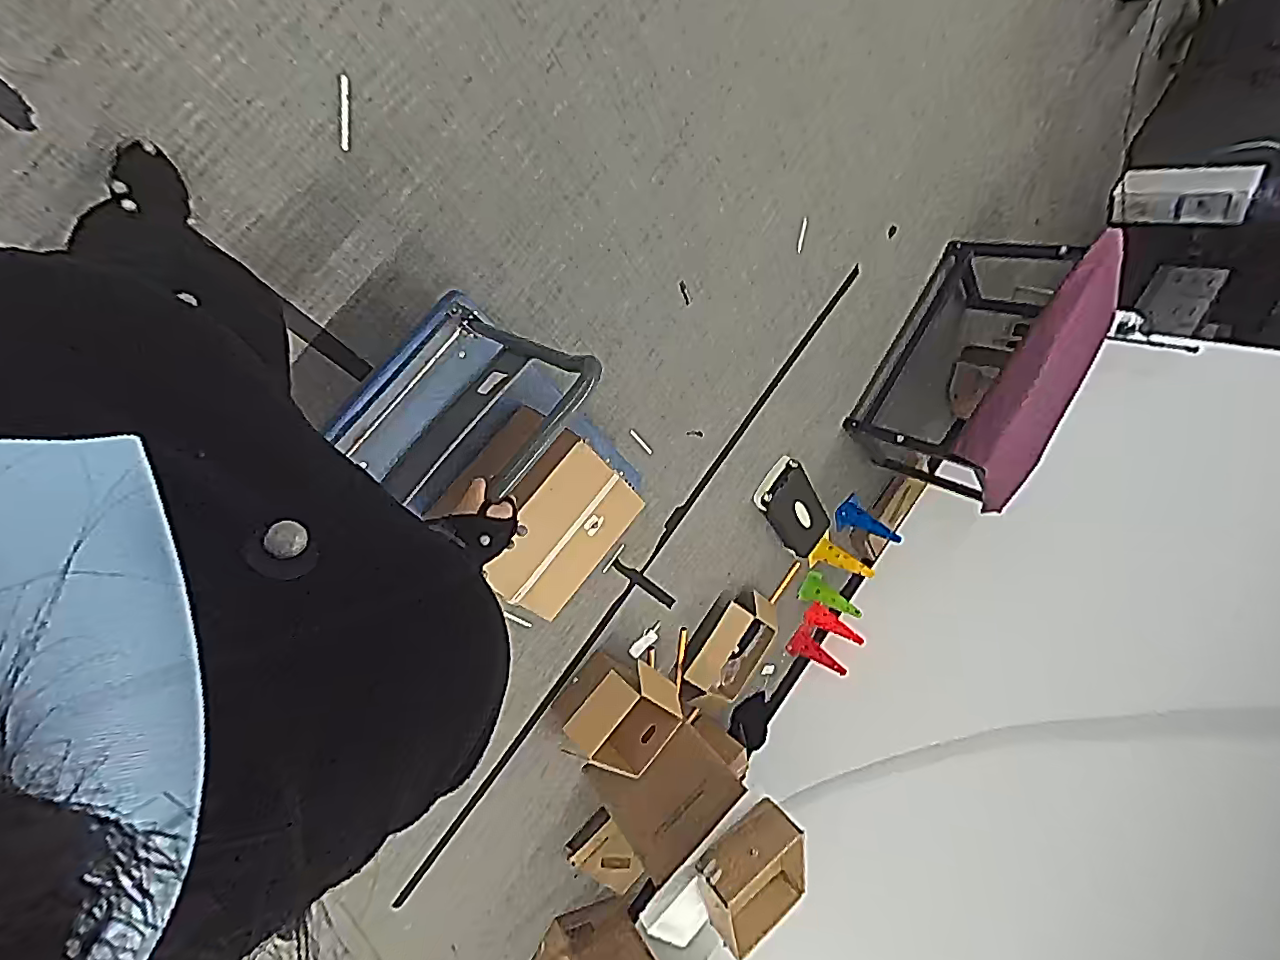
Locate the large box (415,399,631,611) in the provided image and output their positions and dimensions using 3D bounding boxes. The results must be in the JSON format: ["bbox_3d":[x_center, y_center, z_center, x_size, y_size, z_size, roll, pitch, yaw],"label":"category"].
[{"bbox_3d":[-0.309,0.060,1.434,0.408,0.320,0.320,-52,136,-9],"label":"large box"}]
